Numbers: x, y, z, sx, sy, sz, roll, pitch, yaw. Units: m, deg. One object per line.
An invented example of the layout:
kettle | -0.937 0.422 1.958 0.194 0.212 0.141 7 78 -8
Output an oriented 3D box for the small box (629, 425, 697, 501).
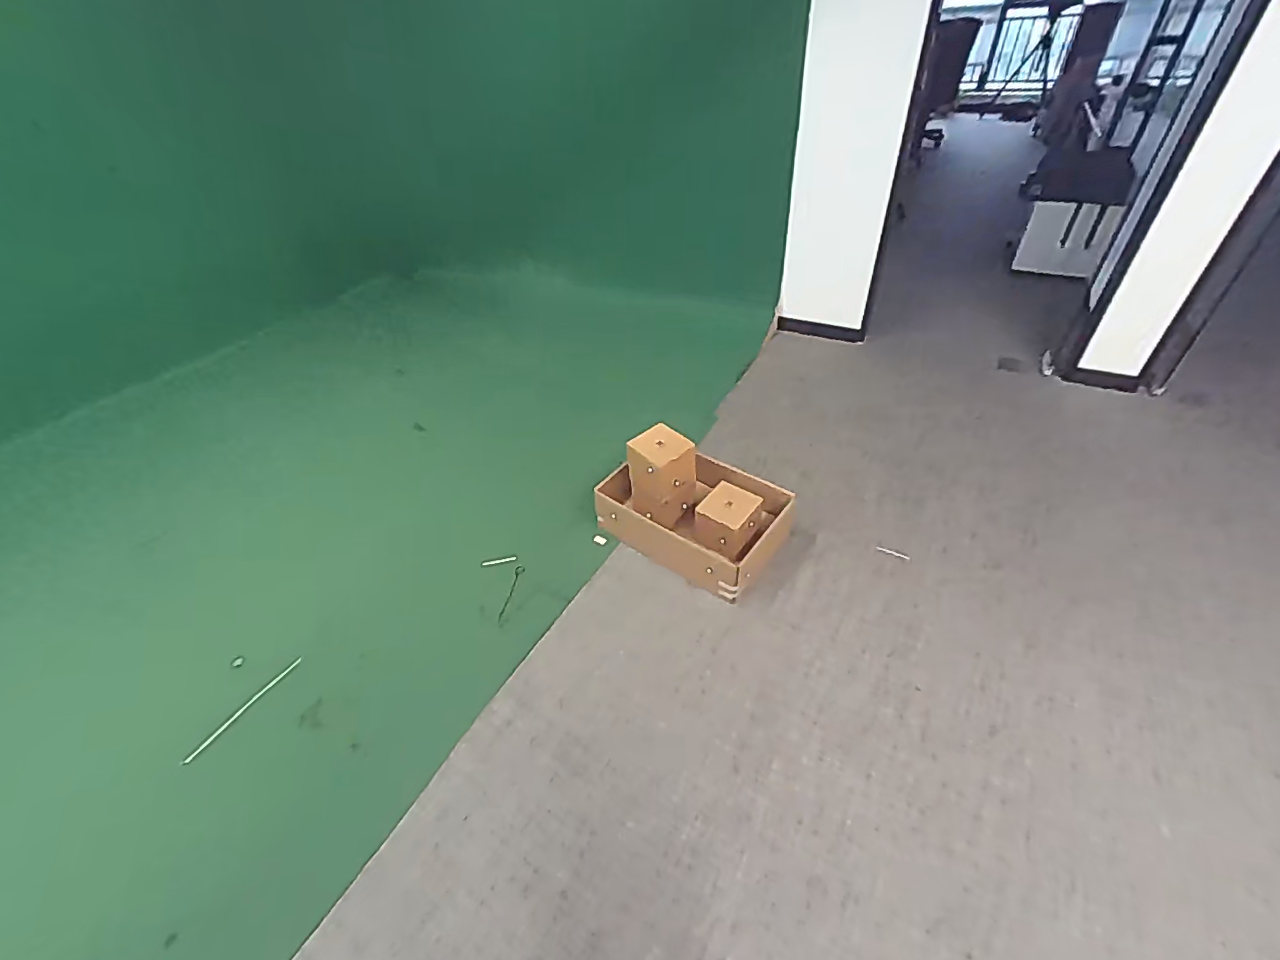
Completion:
small box | 0.080 -0.058 1.874 0.168 0.176 0.179 -33 50 -26
